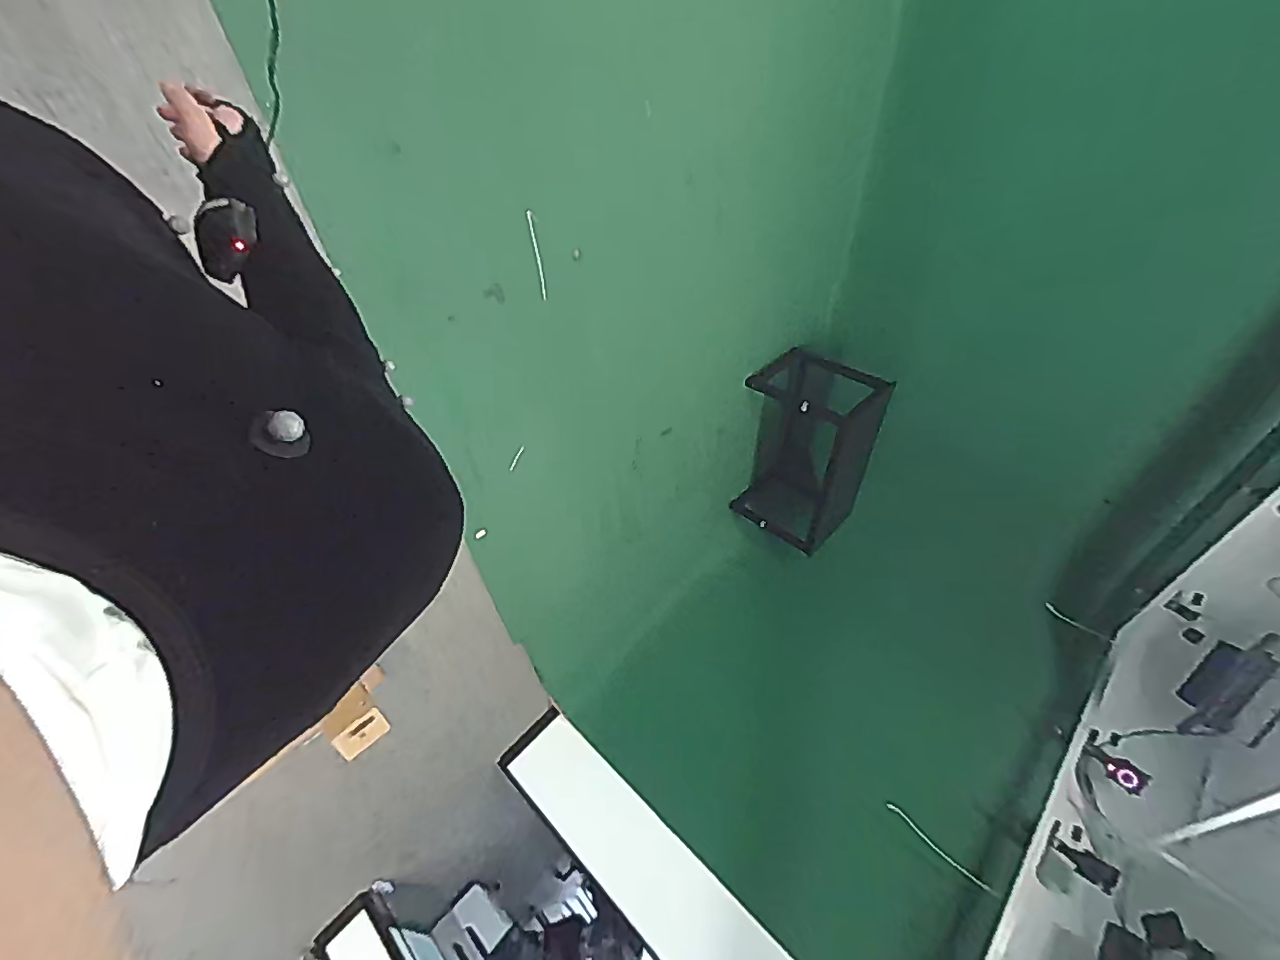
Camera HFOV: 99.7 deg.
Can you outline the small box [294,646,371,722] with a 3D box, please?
[{"bbox_3d":[-1.168,0.768,2.055,0.179,0.176,0.168,-34,142,-31],"label":"small box"}]
